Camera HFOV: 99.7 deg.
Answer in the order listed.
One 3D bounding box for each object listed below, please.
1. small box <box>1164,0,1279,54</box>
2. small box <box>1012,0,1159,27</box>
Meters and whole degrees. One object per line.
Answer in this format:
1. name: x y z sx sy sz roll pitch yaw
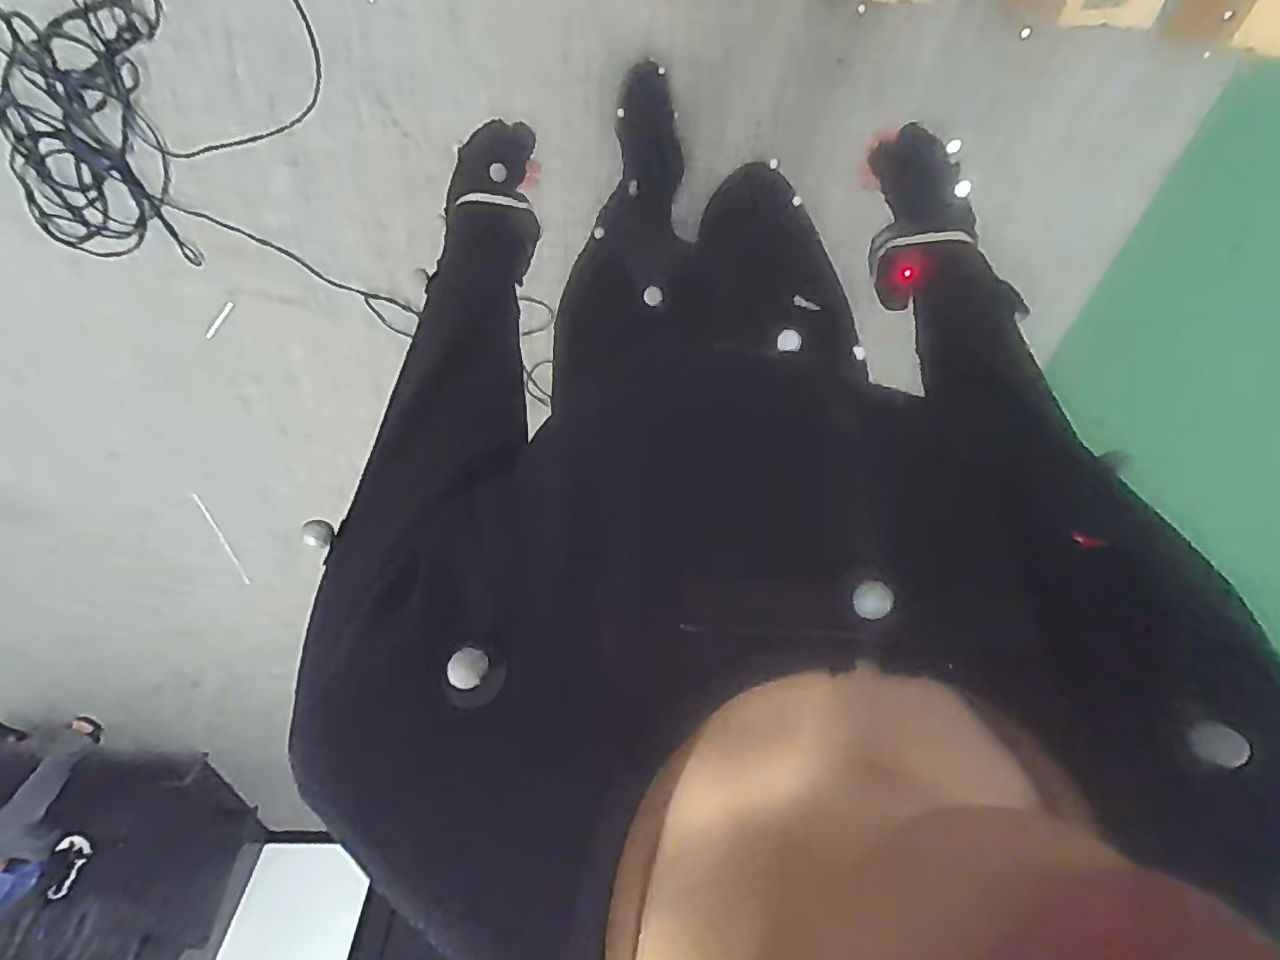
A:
1. small box: 1.101 -0.871 0.948 0.168 0.176 0.179 5 131 -5
2. small box: 0.780 -0.890 0.918 0.168 0.176 0.179 0 130 -2
